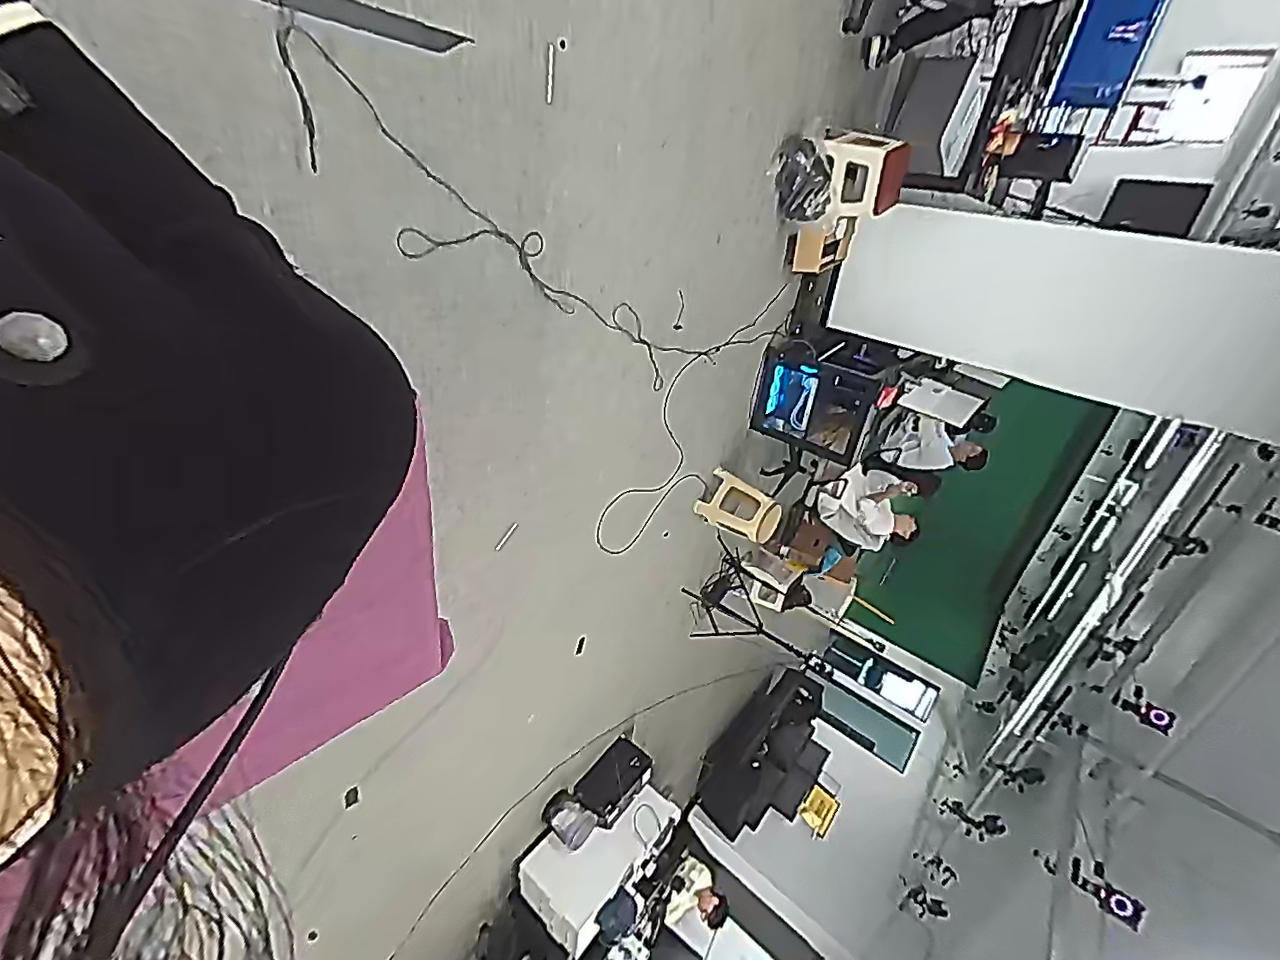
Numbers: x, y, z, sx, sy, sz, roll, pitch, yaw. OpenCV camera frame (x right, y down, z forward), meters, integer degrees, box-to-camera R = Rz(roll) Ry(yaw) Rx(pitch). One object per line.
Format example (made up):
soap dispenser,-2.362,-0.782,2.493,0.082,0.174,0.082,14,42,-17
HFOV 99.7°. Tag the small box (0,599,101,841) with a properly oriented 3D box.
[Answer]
small box,-0.679,0.249,0.527,0.168,0.176,0.179,-25,133,-48
